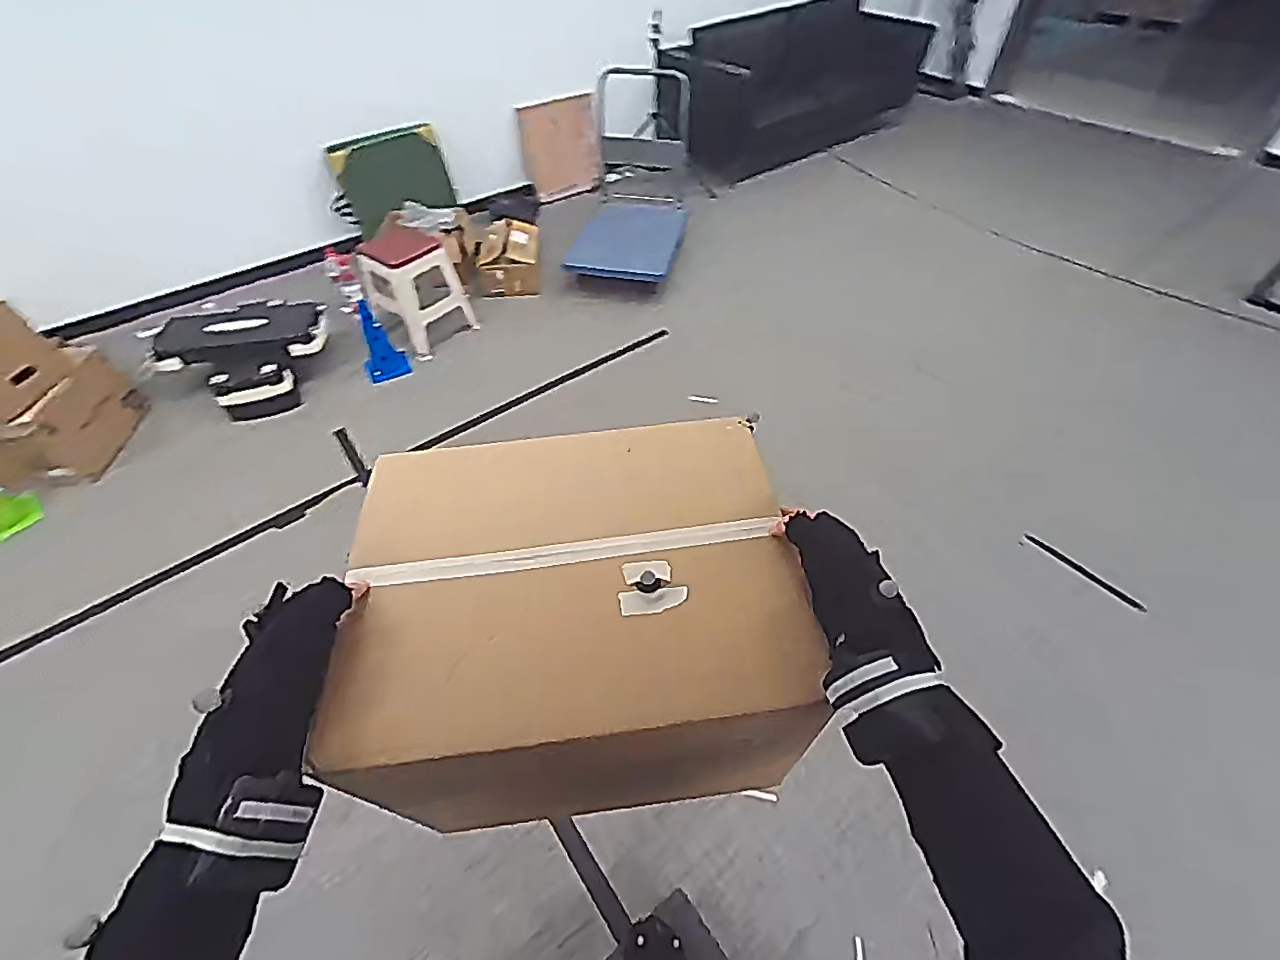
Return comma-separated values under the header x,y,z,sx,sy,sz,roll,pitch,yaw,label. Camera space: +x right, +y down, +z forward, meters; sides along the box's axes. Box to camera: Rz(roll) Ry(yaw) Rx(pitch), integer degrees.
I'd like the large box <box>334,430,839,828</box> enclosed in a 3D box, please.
x,y,z,sx,sy,sz,roll,pitch,yaw,label
-0.051,0.174,0.626,0.408,0.320,0.320,-6,50,-3,large box
